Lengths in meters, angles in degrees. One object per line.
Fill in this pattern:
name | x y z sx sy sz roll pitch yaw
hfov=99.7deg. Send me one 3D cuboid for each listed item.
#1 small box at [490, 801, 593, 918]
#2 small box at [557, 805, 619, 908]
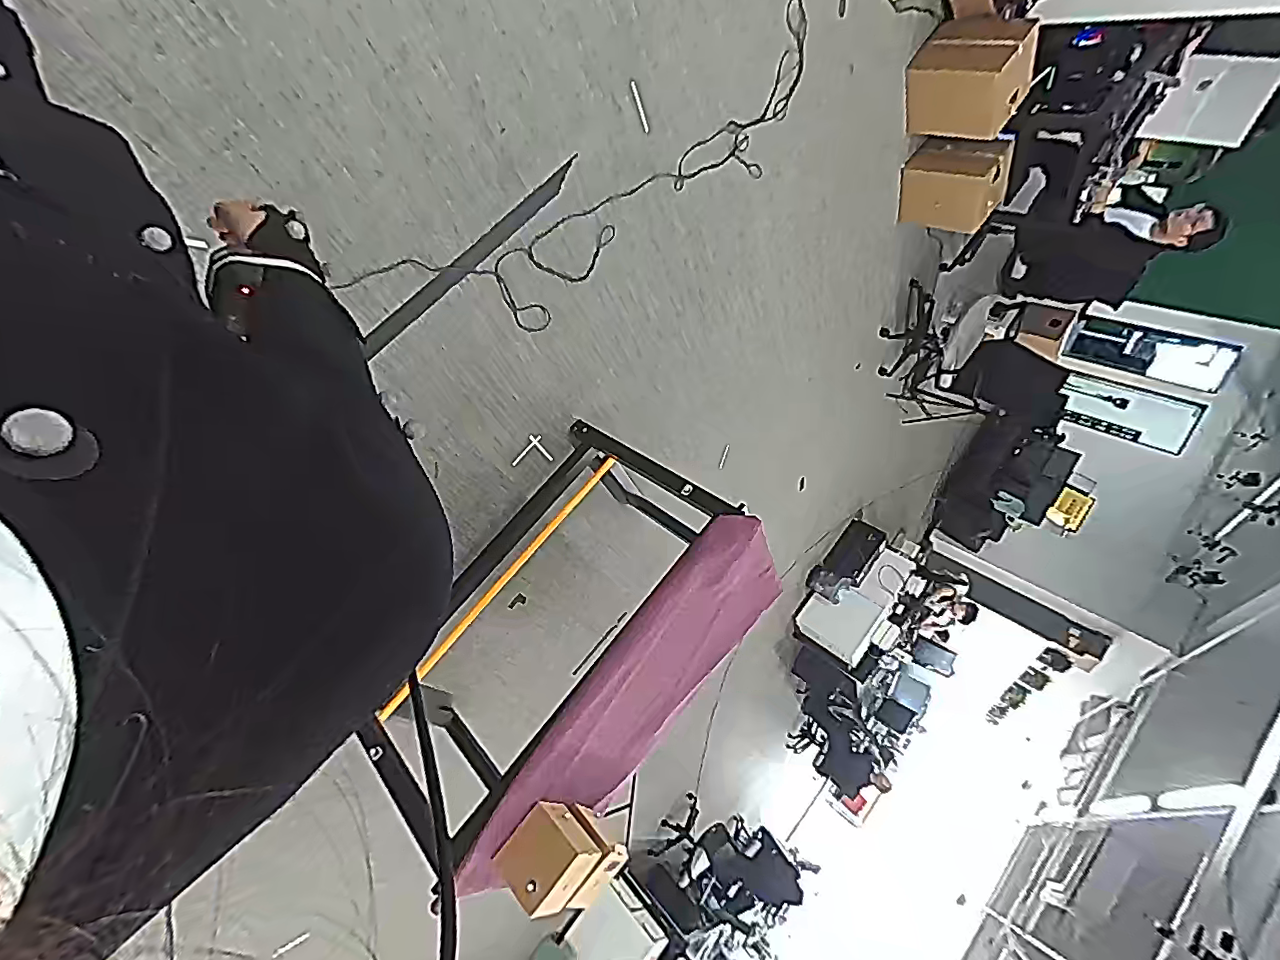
small box | -0.259 0.970 1.392 0.179 0.176 0.168 -49 146 -15
small box | -0.194 1.075 1.550 0.179 0.176 0.168 -44 141 -18
